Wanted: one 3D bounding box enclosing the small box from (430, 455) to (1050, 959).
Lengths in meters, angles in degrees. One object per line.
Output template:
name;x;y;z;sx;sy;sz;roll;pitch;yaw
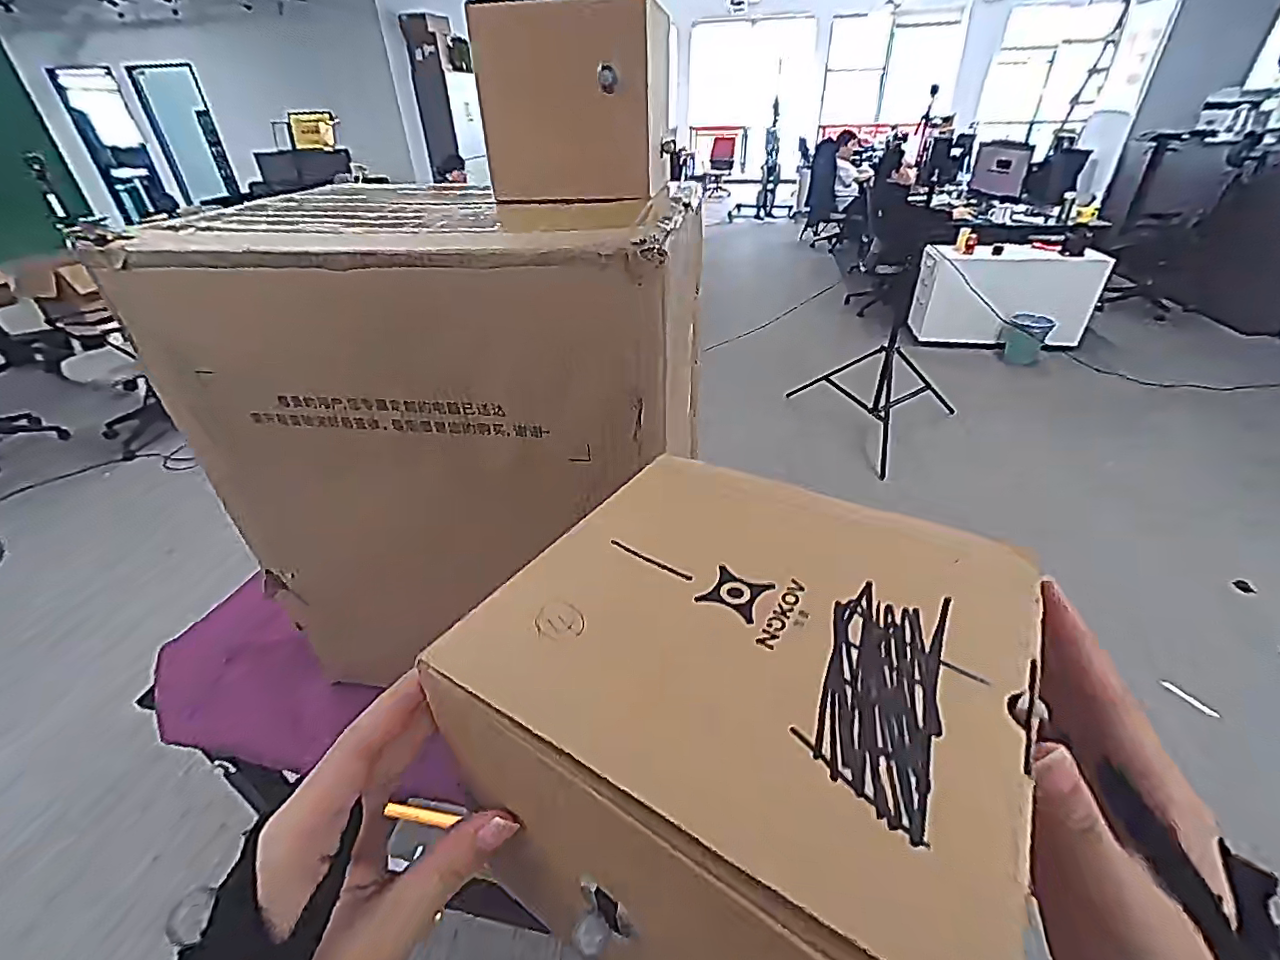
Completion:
small box;0.045;0.116;0.241;0.179;0.176;0.168;19;37;29
